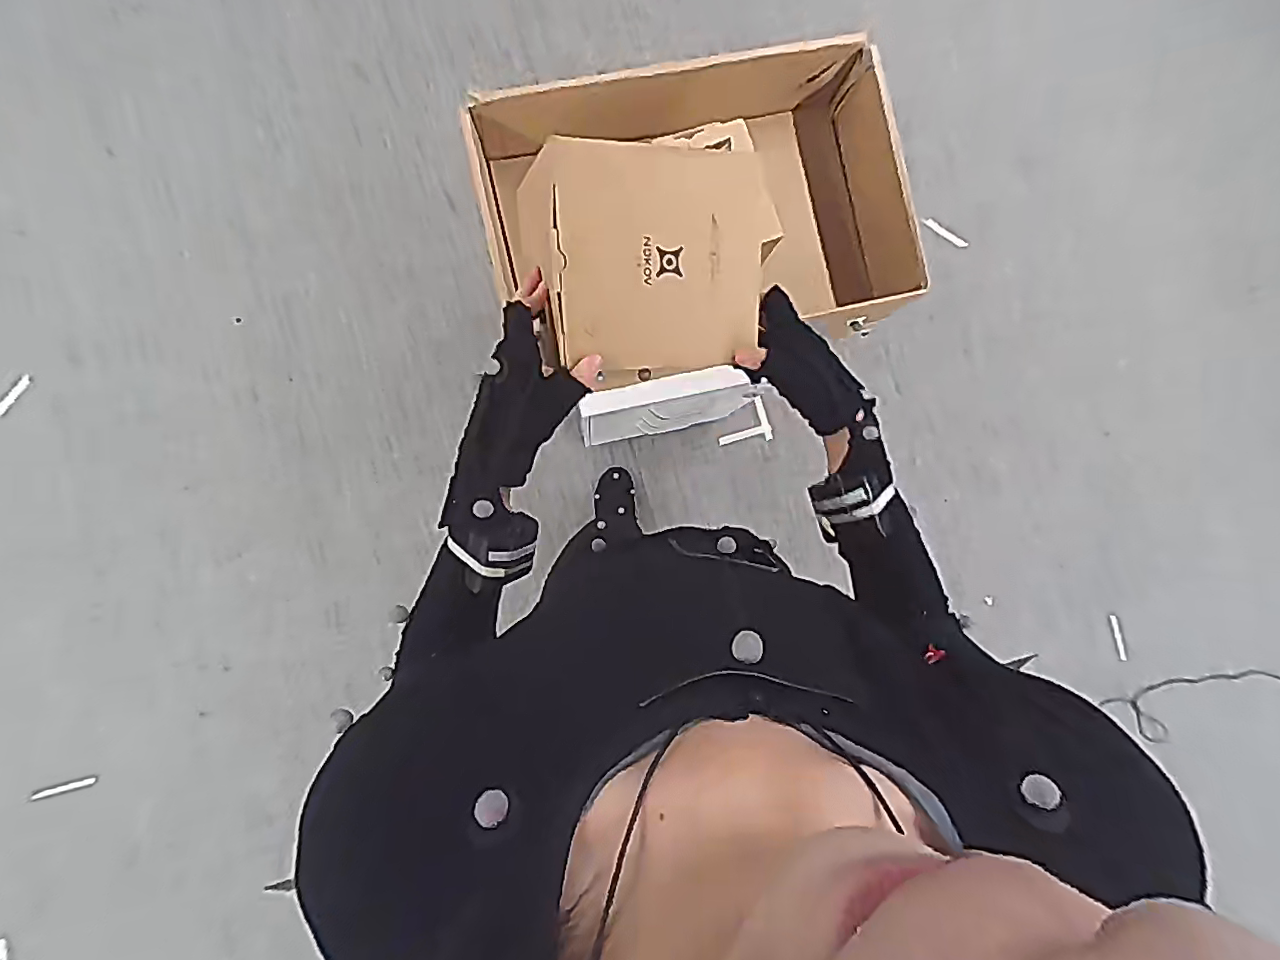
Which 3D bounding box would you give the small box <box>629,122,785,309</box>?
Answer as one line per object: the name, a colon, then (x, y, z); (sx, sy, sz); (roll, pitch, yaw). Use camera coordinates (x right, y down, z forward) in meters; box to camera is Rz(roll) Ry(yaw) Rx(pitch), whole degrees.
small box: (0.090, -0.389, 0.823); (0.168, 0.176, 0.179); (-20, 91, -6)
